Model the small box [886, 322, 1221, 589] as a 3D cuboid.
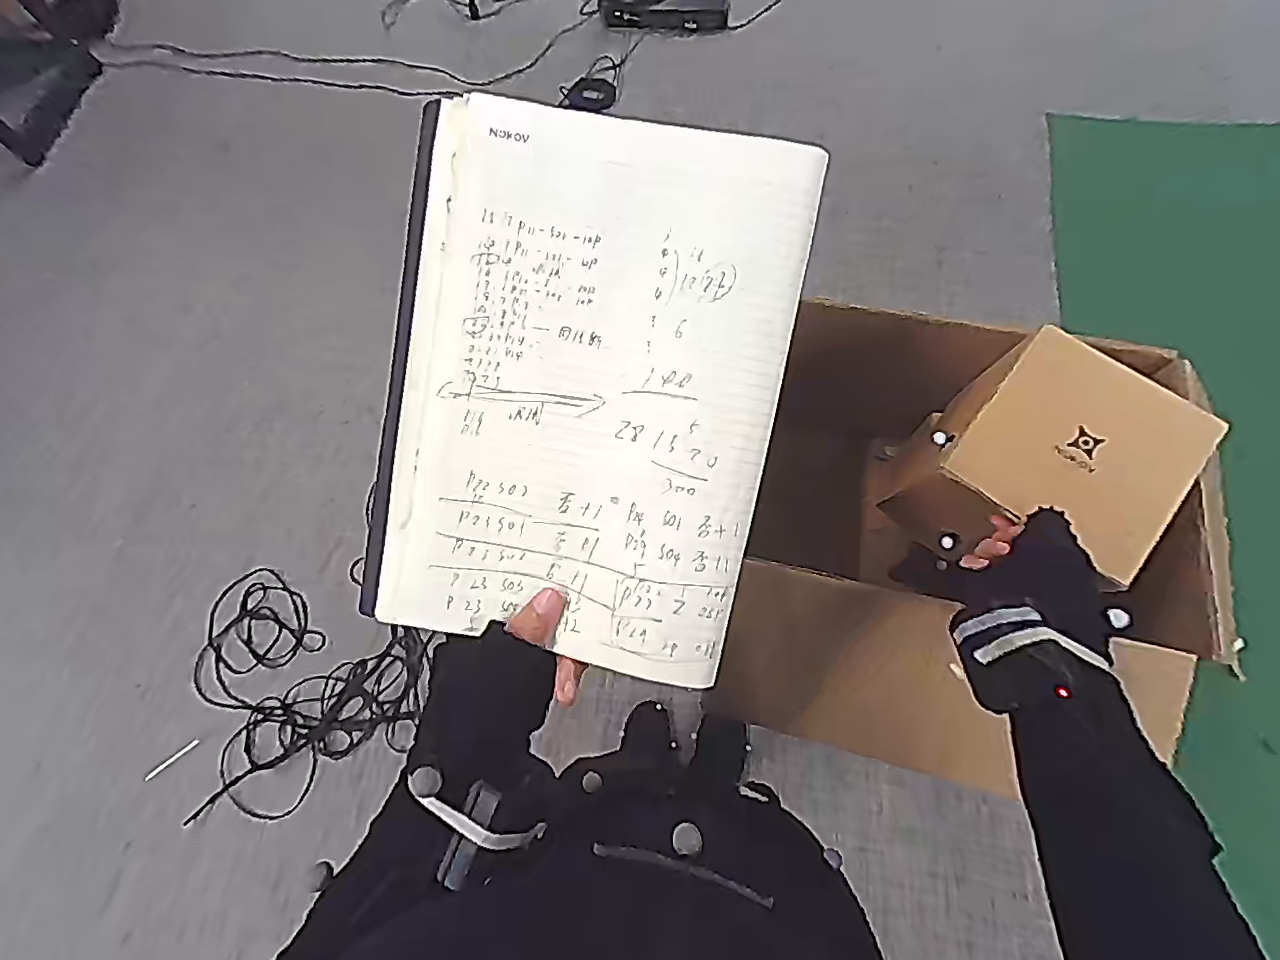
[{"bbox_3d":[0.379,-0.011,0.534,0.168,0.176,0.179,37,81,12],"label":"small box"}]
